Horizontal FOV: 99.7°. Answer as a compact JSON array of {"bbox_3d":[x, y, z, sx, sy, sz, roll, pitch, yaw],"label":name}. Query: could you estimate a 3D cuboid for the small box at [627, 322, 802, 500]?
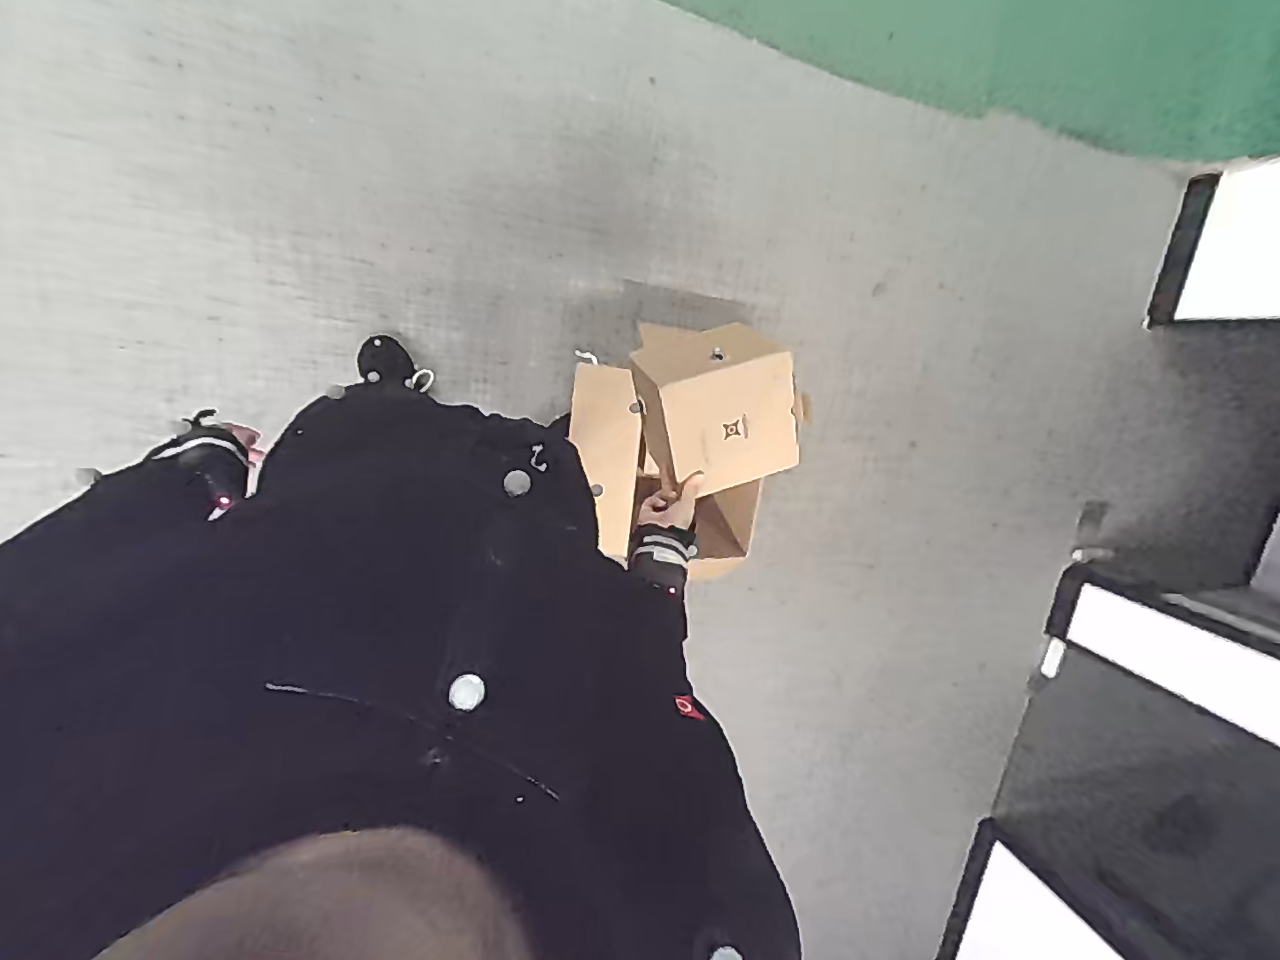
[{"bbox_3d":[0.097,-0.103,0.737,0.179,0.176,0.168,-18,119,-6],"label":"small box"}]
